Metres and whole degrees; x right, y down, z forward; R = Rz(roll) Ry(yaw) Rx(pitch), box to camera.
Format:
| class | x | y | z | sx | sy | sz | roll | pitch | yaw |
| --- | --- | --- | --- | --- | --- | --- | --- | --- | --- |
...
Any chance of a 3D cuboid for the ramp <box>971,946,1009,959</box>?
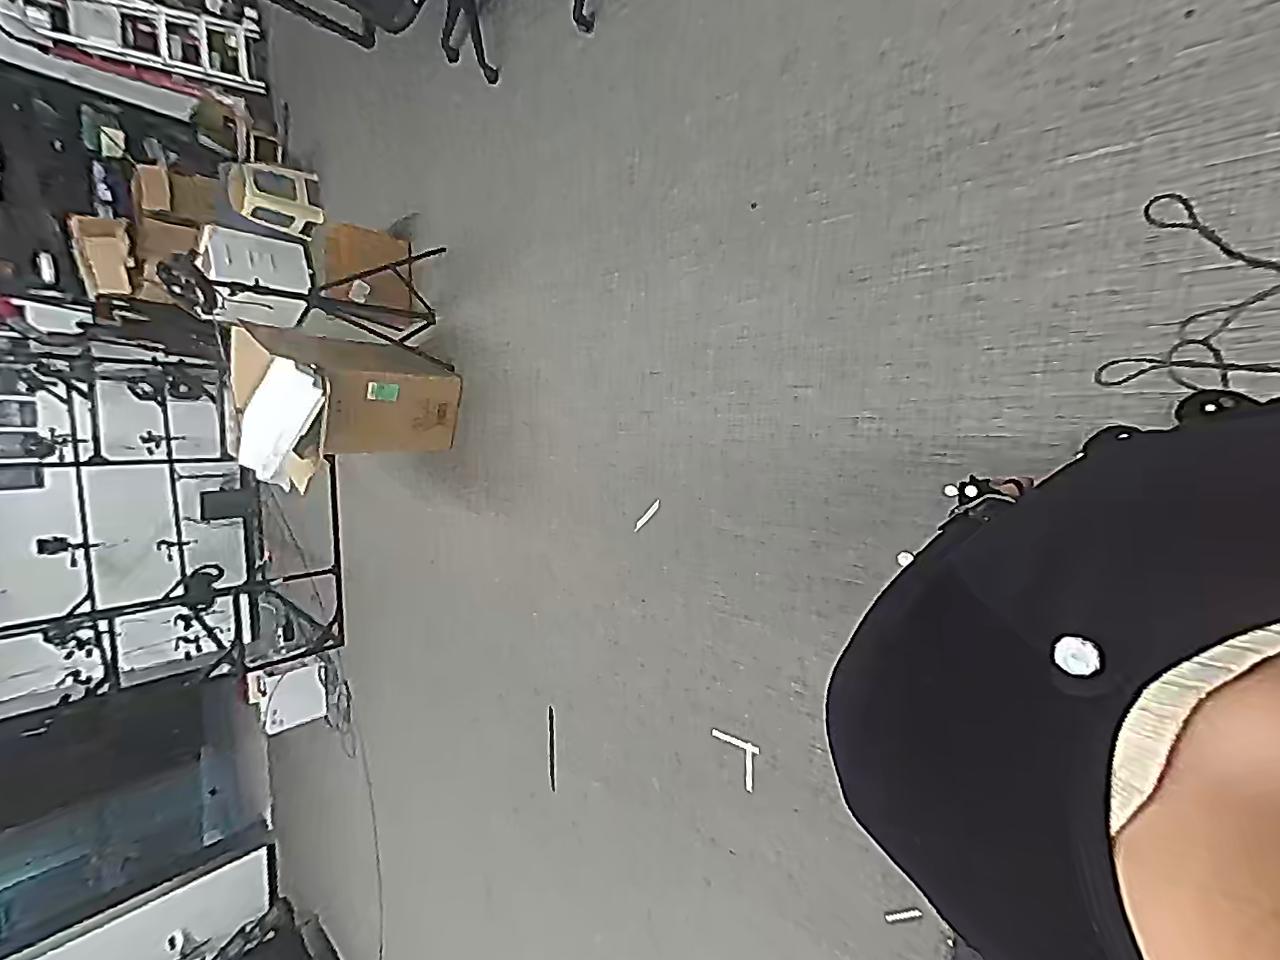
| class | x | y | z | sx | sy | sz | roll | pitch | yaw |
| --- | --- | --- | --- | --- | --- | --- | --- | --- | --- |
| ramp | 0.894 | 1.599 | 1.091 | 0.509 | 0.206 | 0.991 | 4 | 94 | 44 |
